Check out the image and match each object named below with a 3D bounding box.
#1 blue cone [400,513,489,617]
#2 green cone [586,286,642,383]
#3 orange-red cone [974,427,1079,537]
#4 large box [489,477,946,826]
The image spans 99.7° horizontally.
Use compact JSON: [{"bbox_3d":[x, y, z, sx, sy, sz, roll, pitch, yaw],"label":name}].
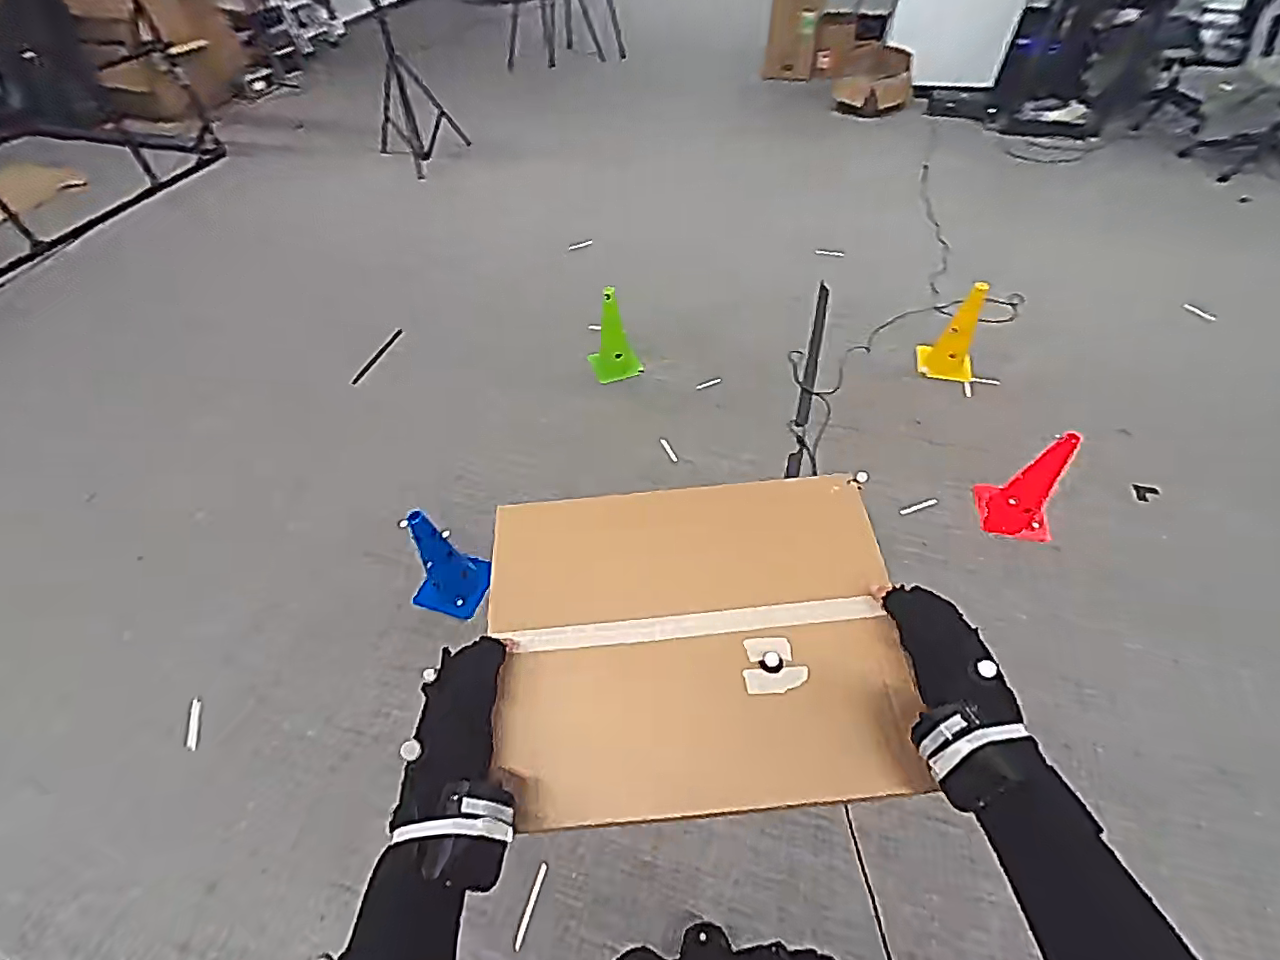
[{"bbox_3d":[-0.583,0.218,1.538,0.192,0.380,0.193,13,52,15],"label":"blue cone"},{"bbox_3d":[-0.124,-0.606,2.163,0.202,0.368,0.200,-19,52,-10],"label":"green cone"},{"bbox_3d":[1.189,-0.020,1.617,0.198,0.360,0.199,10,51,10],"label":"orange-red cone"},{"bbox_3d":[0.060,0.222,0.663,0.408,0.320,0.320,-5,58,0],"label":"large box"}]
